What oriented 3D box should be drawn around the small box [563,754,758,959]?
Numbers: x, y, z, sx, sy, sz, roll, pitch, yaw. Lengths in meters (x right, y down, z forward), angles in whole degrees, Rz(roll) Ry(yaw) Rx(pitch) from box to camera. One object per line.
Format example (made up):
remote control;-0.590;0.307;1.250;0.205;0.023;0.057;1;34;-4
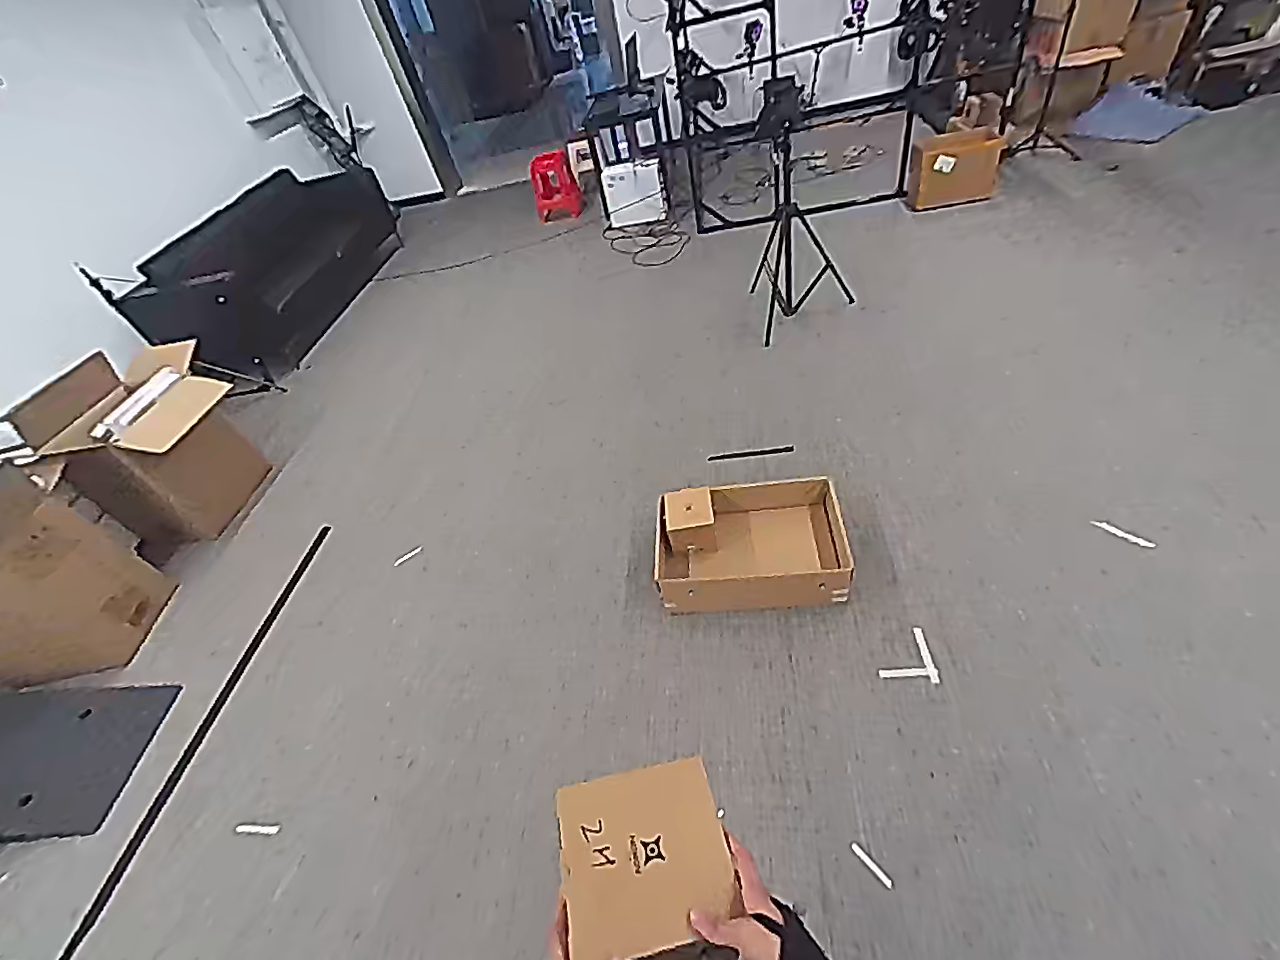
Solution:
small box;0.014;0.443;0.610;0.179;0.176;0.168;-9;39;-8
